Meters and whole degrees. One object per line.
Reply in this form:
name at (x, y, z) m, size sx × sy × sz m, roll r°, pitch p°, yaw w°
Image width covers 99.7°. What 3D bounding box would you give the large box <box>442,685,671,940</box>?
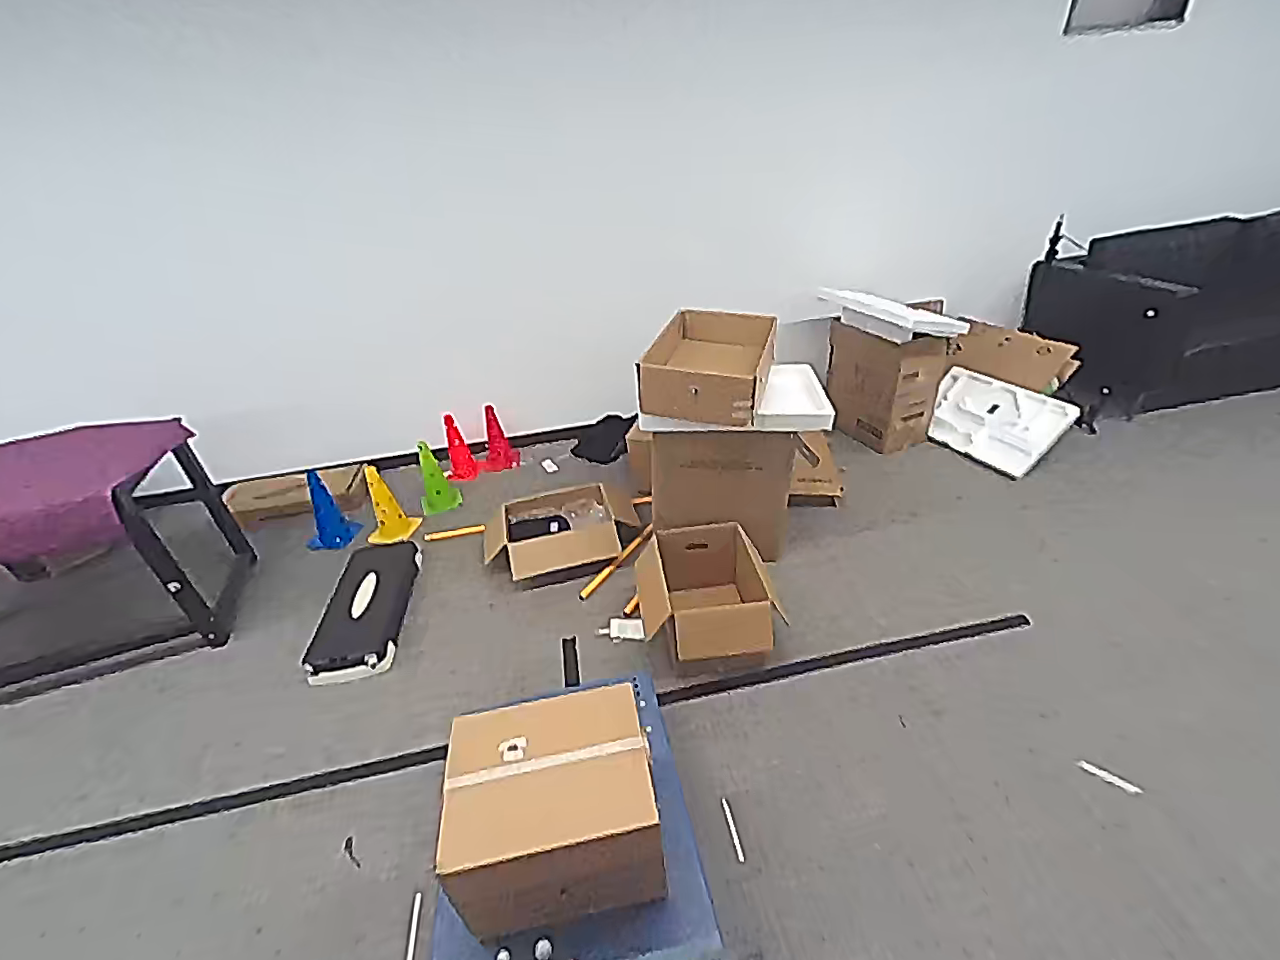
large box at (-0.169, 0.711, 1.177) m, size 0.408 × 0.320 × 0.320 m, roll -11°, pitch 31°, yaw -6°
